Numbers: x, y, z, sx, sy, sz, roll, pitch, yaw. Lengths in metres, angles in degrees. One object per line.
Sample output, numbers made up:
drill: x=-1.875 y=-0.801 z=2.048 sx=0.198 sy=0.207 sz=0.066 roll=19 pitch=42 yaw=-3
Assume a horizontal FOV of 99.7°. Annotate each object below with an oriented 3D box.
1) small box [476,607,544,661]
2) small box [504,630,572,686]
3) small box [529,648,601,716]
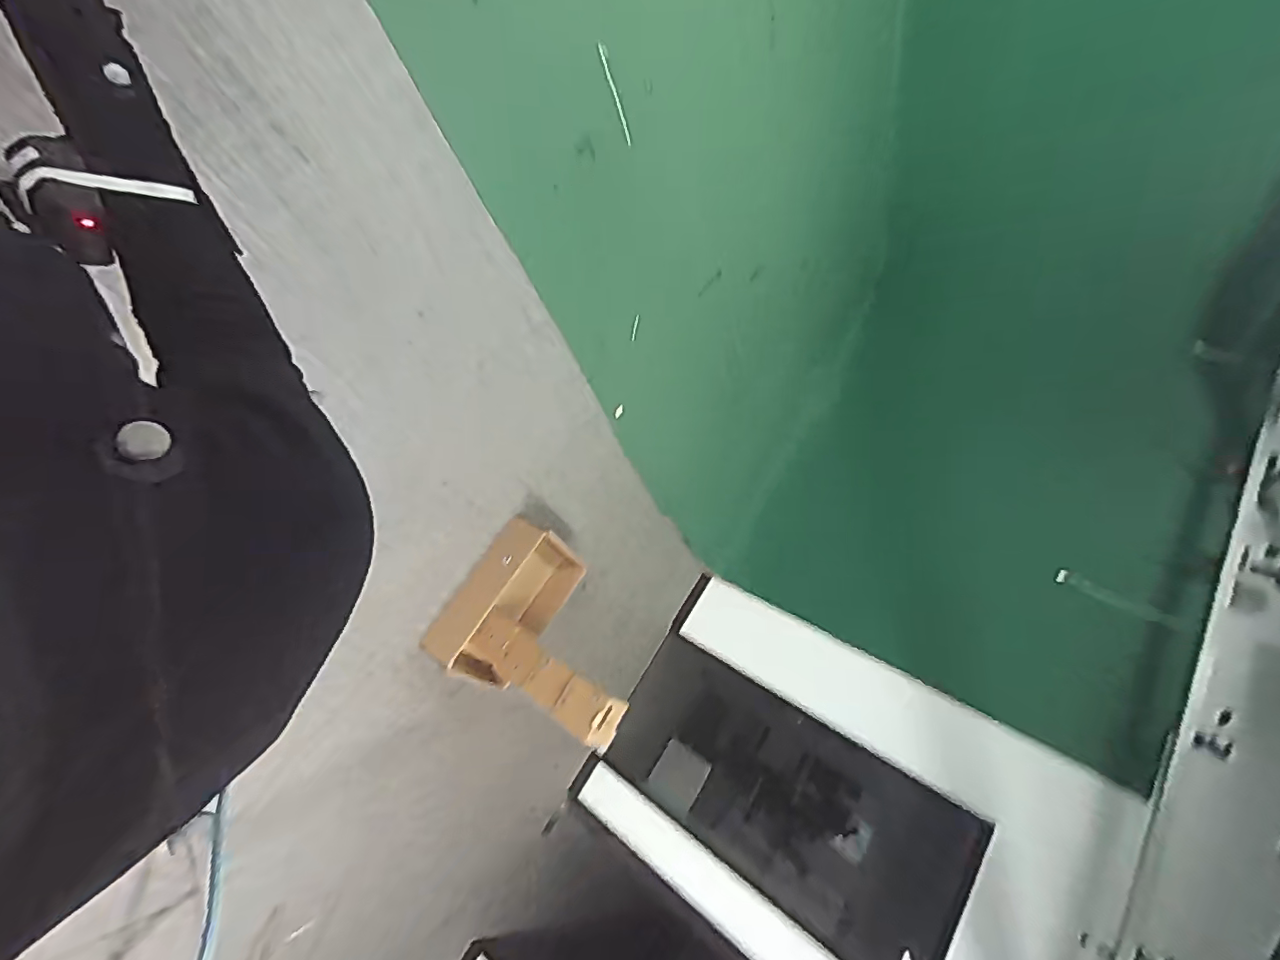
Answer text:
small box: x=-0.532 y=0.635 z=2.203 sx=0.168 sy=0.176 sz=0.179 roll=-60 pitch=148 yaw=-13
small box: x=-0.396 y=0.707 z=2.104 sx=0.168 sy=0.176 sz=0.179 roll=-57 pitch=147 yaw=-16
small box: x=-0.283 y=0.751 z=2.020 sx=0.168 sy=0.176 sz=0.179 roll=-56 pitch=146 yaw=-16
